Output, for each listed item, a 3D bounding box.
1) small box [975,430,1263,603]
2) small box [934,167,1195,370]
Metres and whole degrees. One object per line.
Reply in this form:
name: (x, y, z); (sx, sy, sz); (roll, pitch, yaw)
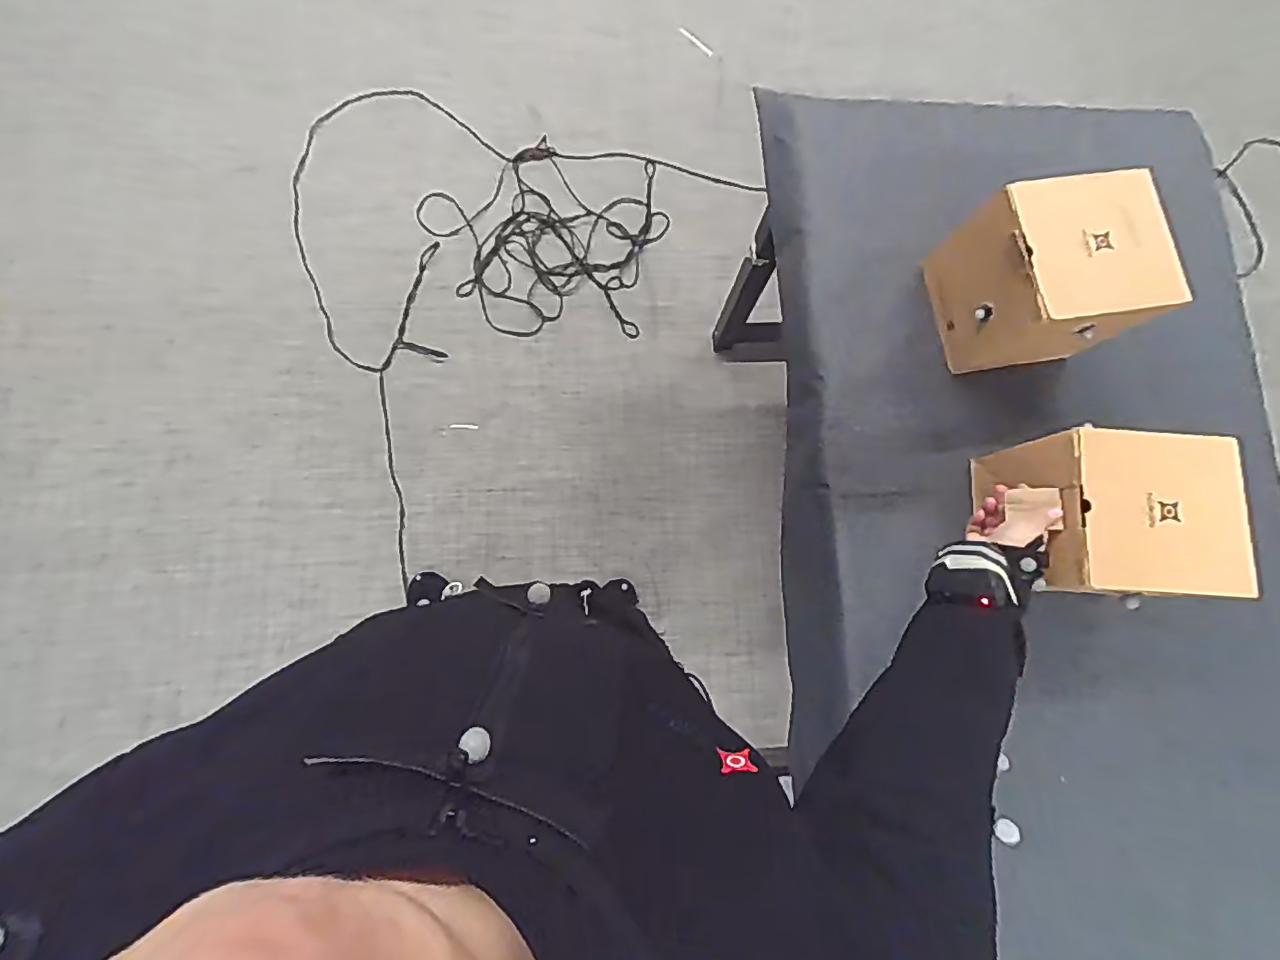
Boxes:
small box: (0.521, 0.047, 0.613); (0.179, 0.176, 0.168); (3, 80, -2)
small box: (0.494, -0.245, 0.664); (0.179, 0.176, 0.168); (-9, 82, -7)
